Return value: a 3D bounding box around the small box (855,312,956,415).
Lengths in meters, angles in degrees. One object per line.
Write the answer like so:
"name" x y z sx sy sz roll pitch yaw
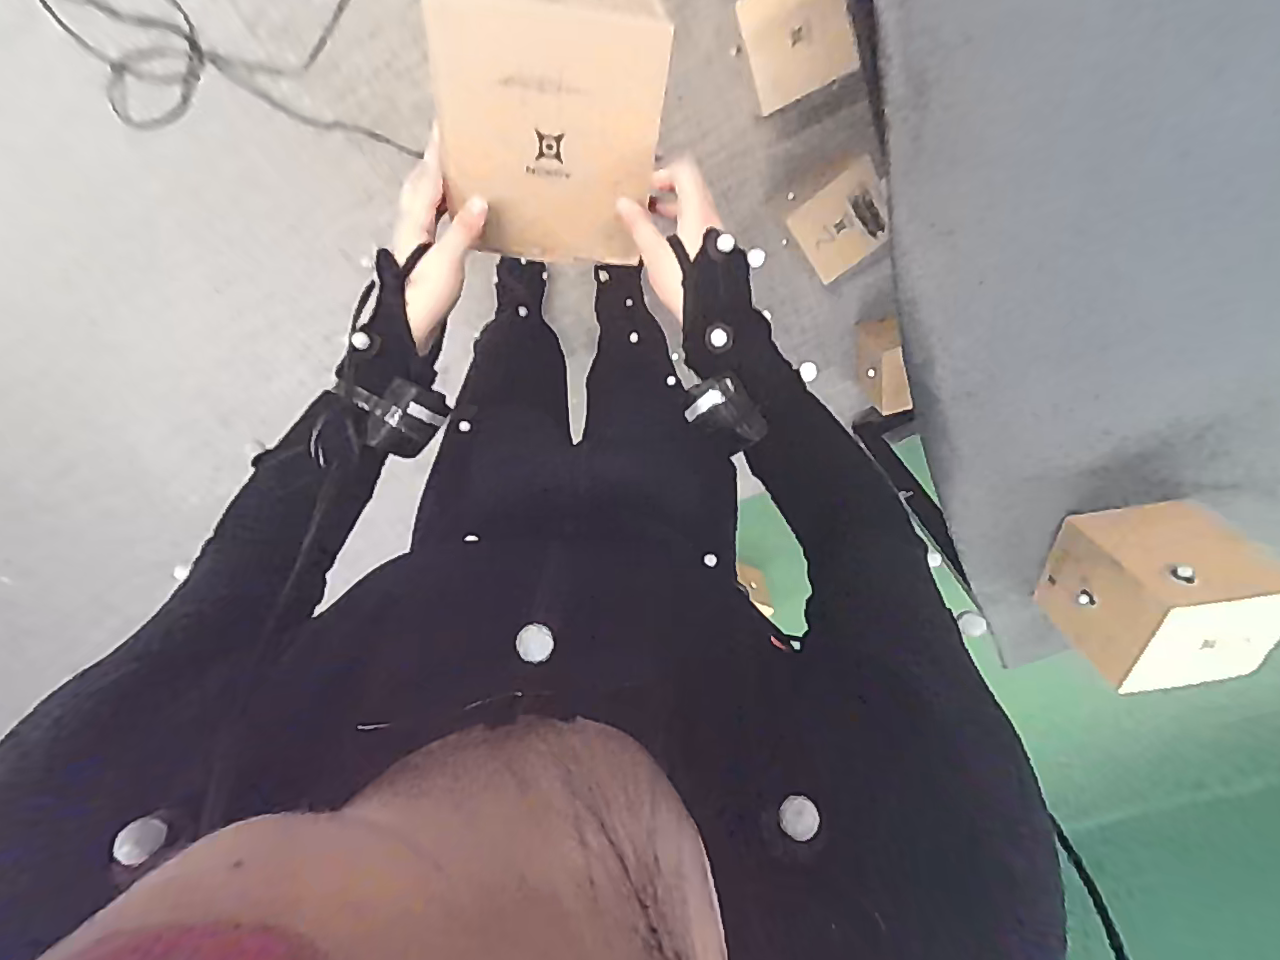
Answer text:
"small box" 0.628 -0.287 1.298 0.168 0.176 0.179 -14 127 7

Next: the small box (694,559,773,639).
"small box" 0.298 0.383 1.761 0.179 0.176 0.168 23 121 -19

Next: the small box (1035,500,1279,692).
"small box" 0.673 0.147 0.710 0.179 0.176 0.168 -9 126 0

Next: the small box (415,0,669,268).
"small box" -0.078 -0.311 0.459 0.168 0.176 0.179 2 141 -9

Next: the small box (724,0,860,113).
"small box" 0.254 -0.766 0.939 0.179 0.176 0.168 -21 123 11
